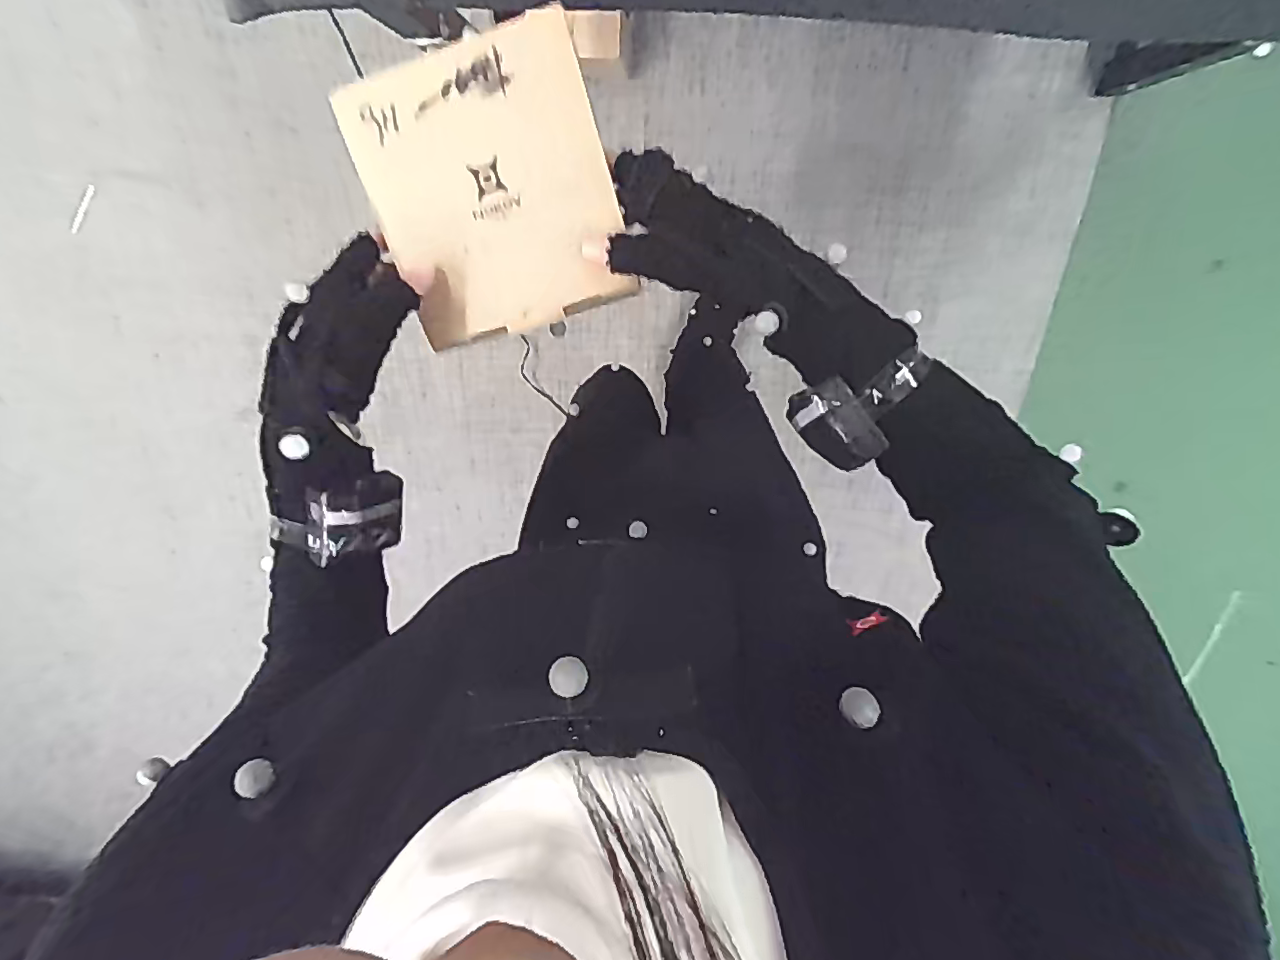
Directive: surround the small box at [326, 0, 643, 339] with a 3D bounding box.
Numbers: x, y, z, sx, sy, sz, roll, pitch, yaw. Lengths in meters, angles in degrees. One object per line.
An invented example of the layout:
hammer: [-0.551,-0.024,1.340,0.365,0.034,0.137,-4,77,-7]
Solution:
small box: [-0.096,-0.228,0.433,0.168,0.176,0.179,-16,108,5]
